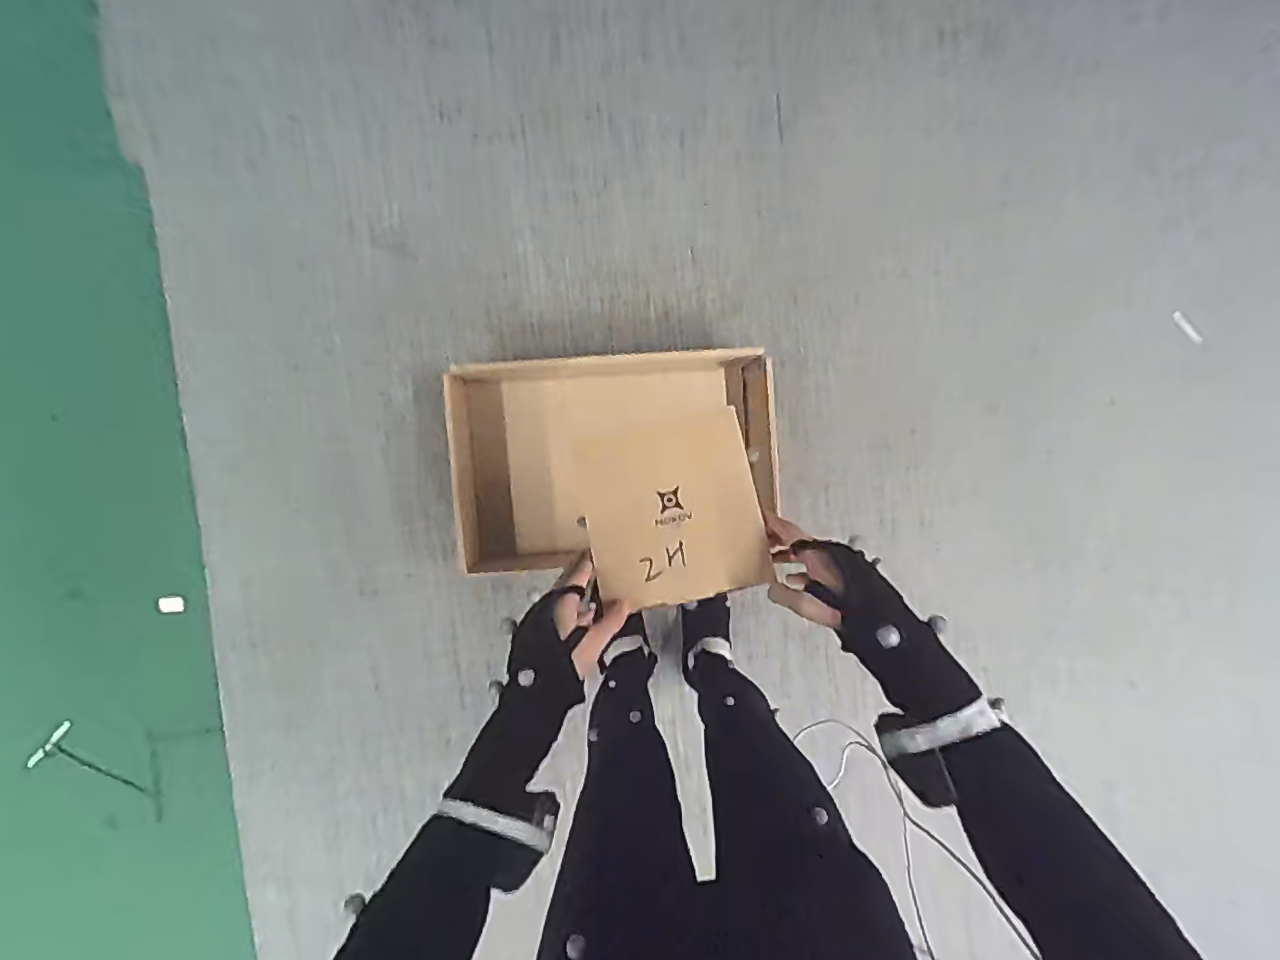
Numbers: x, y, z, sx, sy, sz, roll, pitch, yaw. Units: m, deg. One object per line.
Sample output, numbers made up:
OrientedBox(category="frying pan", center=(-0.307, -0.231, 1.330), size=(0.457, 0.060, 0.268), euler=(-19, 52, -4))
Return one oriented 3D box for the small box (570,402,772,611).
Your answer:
OrientedBox(category="small box", center=(0.032, 0.037, 0.587), size=(0.168, 0.176, 0.179), euler=(-12, 79, 4))
